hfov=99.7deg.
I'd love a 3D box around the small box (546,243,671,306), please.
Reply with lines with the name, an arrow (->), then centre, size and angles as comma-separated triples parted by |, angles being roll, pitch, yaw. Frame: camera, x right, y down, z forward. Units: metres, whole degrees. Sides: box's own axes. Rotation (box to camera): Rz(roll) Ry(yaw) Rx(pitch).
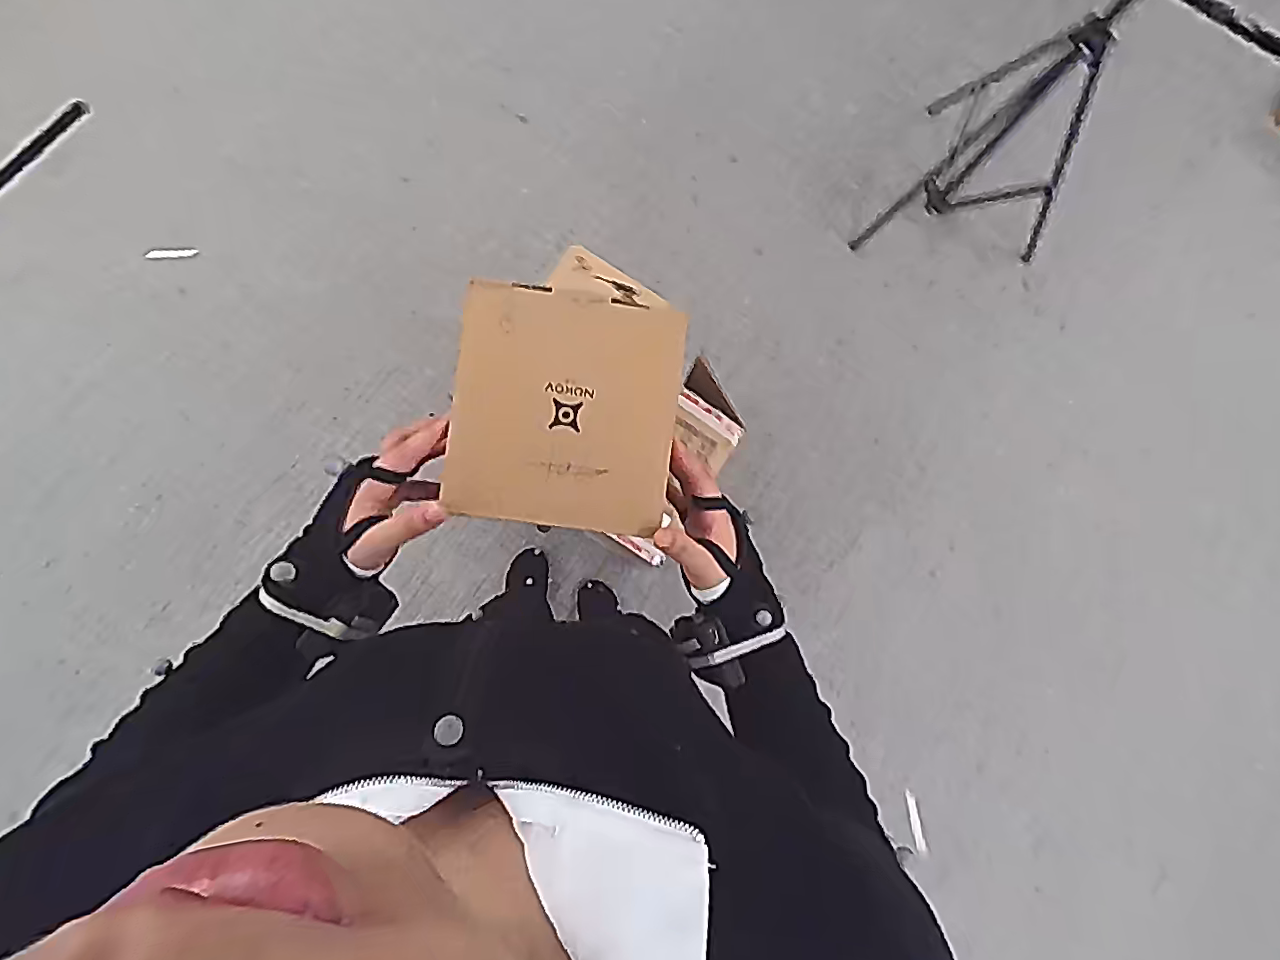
small box -> -0.069, -0.212, 0.831 | 0.168, 0.176, 0.179 | 34, 82, 3

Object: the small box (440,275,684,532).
small box -> -0.065, -0.056, 0.483 | 0.168, 0.176, 0.179 | 7, 90, -6
